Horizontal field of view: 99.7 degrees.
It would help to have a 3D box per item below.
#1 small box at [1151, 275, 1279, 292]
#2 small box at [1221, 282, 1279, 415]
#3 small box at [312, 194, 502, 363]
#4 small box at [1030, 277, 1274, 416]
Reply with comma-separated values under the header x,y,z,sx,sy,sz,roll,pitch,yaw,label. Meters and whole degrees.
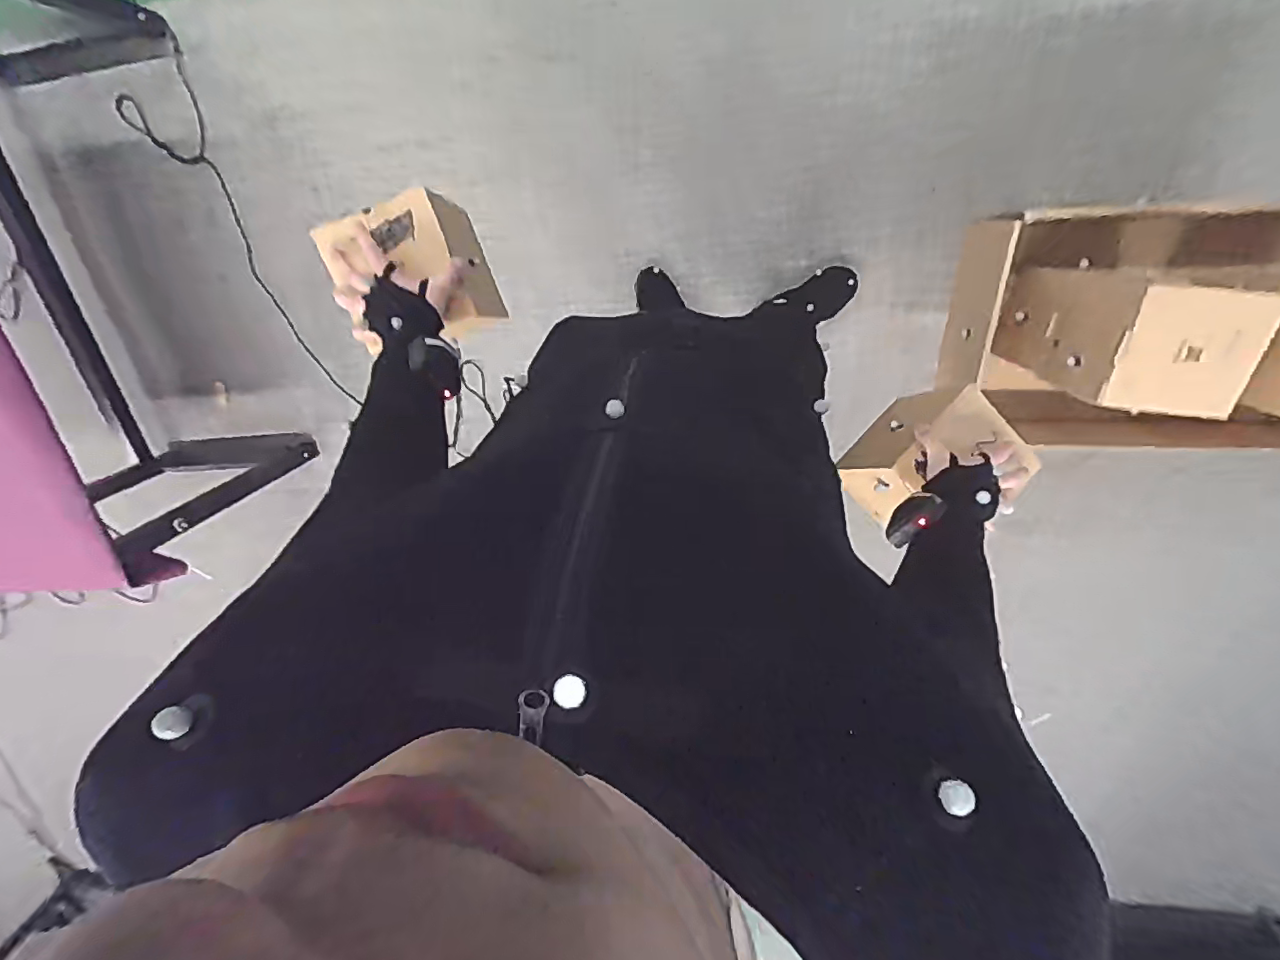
x,y,z,sx,sy,sz,roll,pitch,yaw,label
1.007,-0.263,0.937,0.179,0.176,0.168,2,114,7,small box
0.985,-0.197,0.791,0.179,0.176,0.168,1,115,8,small box
-0.329,-0.286,0.802,0.168,0.176,0.179,-20,105,7,small box
0.739,-0.207,0.811,0.179,0.176,0.168,7,115,2,small box
